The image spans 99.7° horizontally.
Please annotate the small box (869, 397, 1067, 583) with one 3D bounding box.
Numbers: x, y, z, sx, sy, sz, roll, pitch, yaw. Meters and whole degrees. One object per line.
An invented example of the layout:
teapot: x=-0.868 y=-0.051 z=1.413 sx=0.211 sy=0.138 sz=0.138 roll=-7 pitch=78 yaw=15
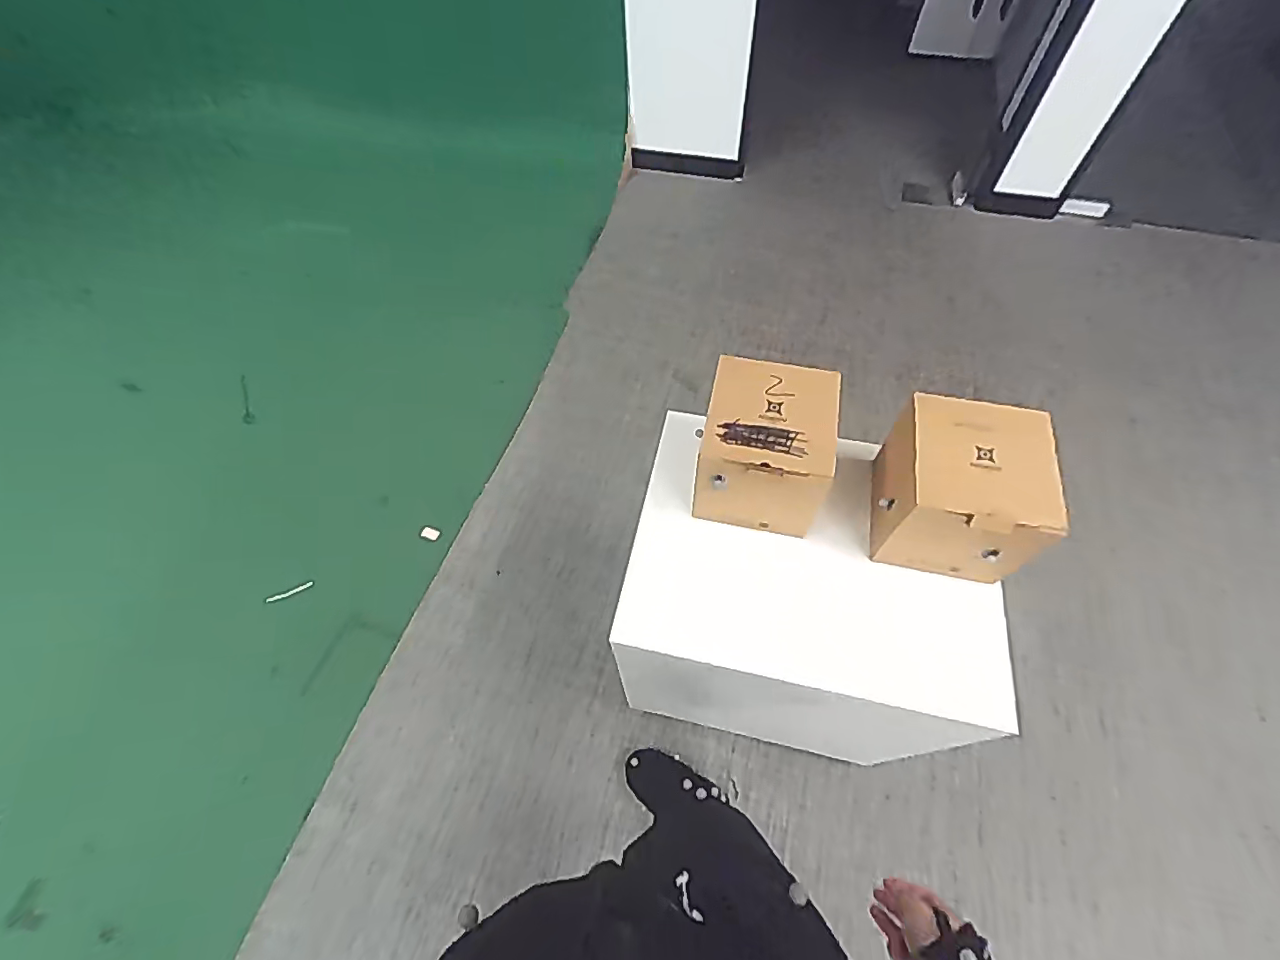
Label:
small box: x=0.417 y=0.019 z=0.719 sx=0.168 sy=0.176 sz=0.179 roll=11 pitch=59 yaw=8
